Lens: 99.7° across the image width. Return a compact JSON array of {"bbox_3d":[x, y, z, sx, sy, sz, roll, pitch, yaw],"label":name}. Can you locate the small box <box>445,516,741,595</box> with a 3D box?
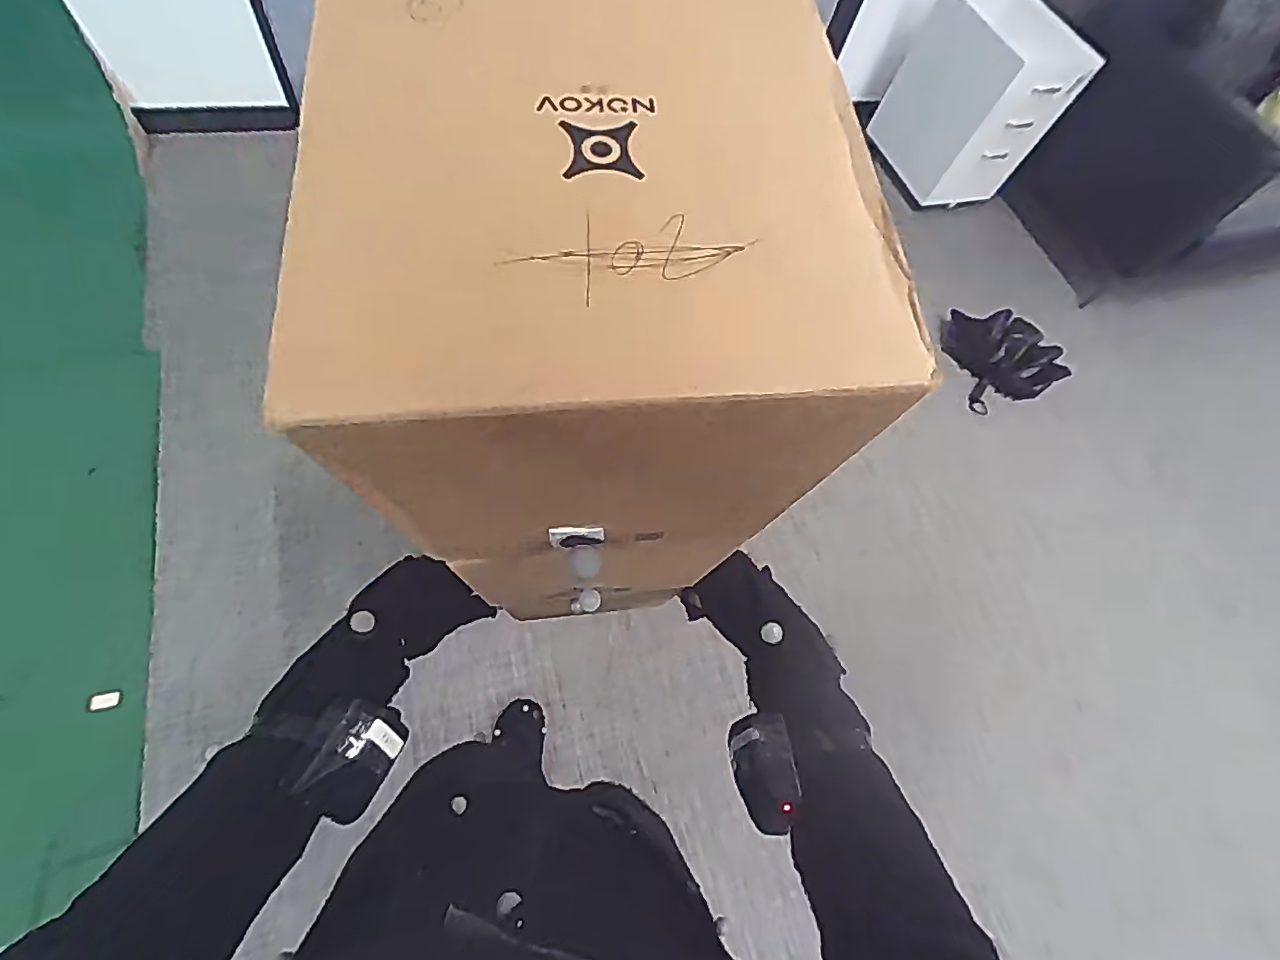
[{"bbox_3d":[-0.040,-0.021,0.399,0.168,0.176,0.179,-4,71,-8],"label":"small box"}]

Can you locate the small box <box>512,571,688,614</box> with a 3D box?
[{"bbox_3d":[-0.056,0.032,0.554,0.168,0.176,0.179,-4,70,-8],"label":"small box"}]

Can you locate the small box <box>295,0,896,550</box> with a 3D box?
[{"bbox_3d":[-0.023,-0.076,0.248,0.168,0.176,0.179,-5,71,-7],"label":"small box"}]
